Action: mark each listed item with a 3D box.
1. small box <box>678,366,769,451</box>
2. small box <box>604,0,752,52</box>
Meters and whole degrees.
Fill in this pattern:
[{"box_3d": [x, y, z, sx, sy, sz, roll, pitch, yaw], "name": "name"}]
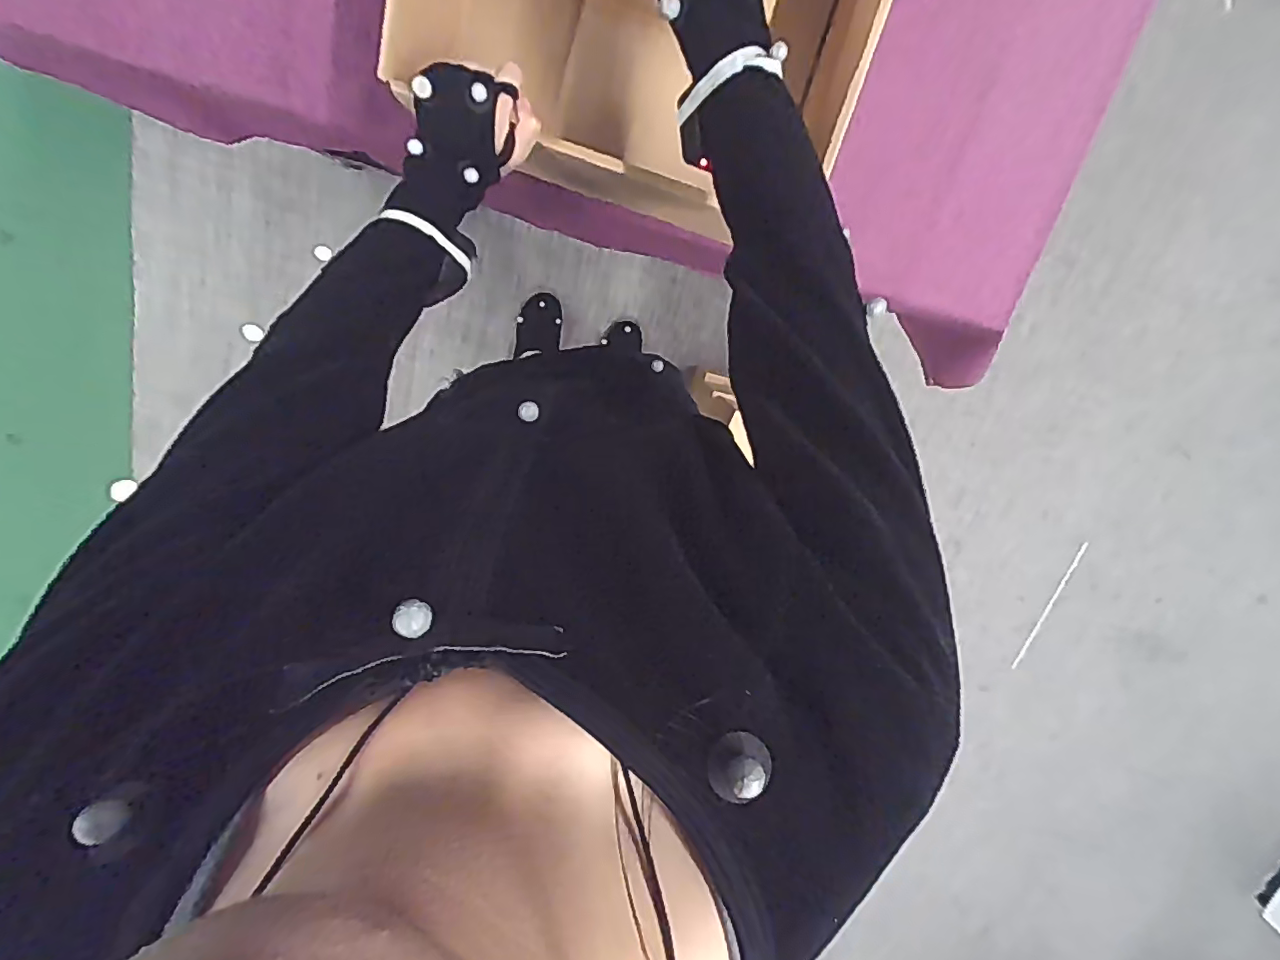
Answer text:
[{"box_3d": [0.210, -0.192, 1.413, 0.179, 0.176, 0.168, 13, 107, -8], "name": "small box"}, {"box_3d": [0.046, -0.525, 0.467, 0.168, 0.176, 0.179, 16, 104, -8], "name": "small box"}]
